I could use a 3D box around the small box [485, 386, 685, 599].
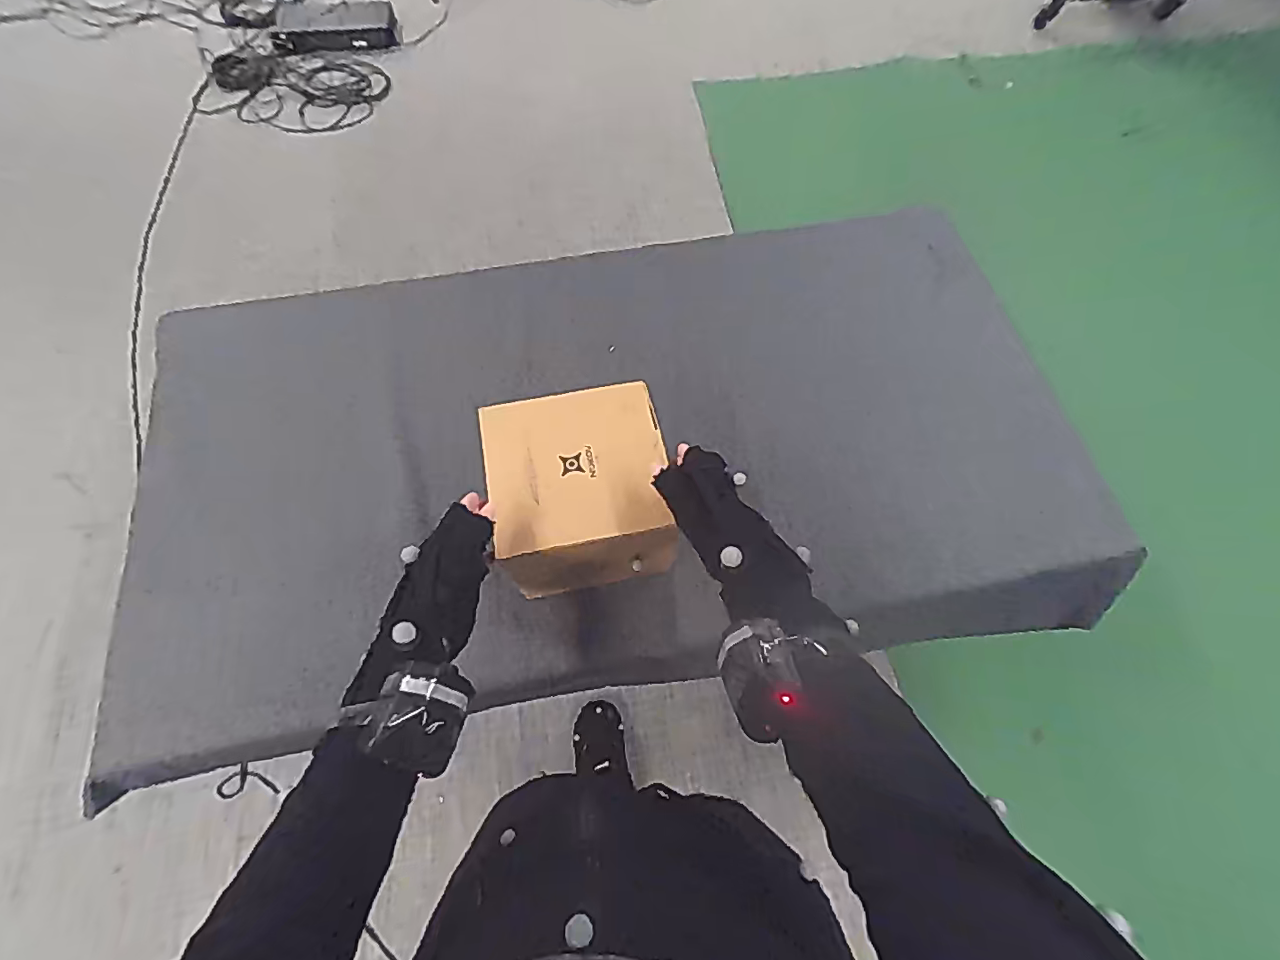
[{"bbox_3d":[-0.059,0.022,0.604,0.179,0.176,0.168,-12,66,-5],"label":"small box"}]
